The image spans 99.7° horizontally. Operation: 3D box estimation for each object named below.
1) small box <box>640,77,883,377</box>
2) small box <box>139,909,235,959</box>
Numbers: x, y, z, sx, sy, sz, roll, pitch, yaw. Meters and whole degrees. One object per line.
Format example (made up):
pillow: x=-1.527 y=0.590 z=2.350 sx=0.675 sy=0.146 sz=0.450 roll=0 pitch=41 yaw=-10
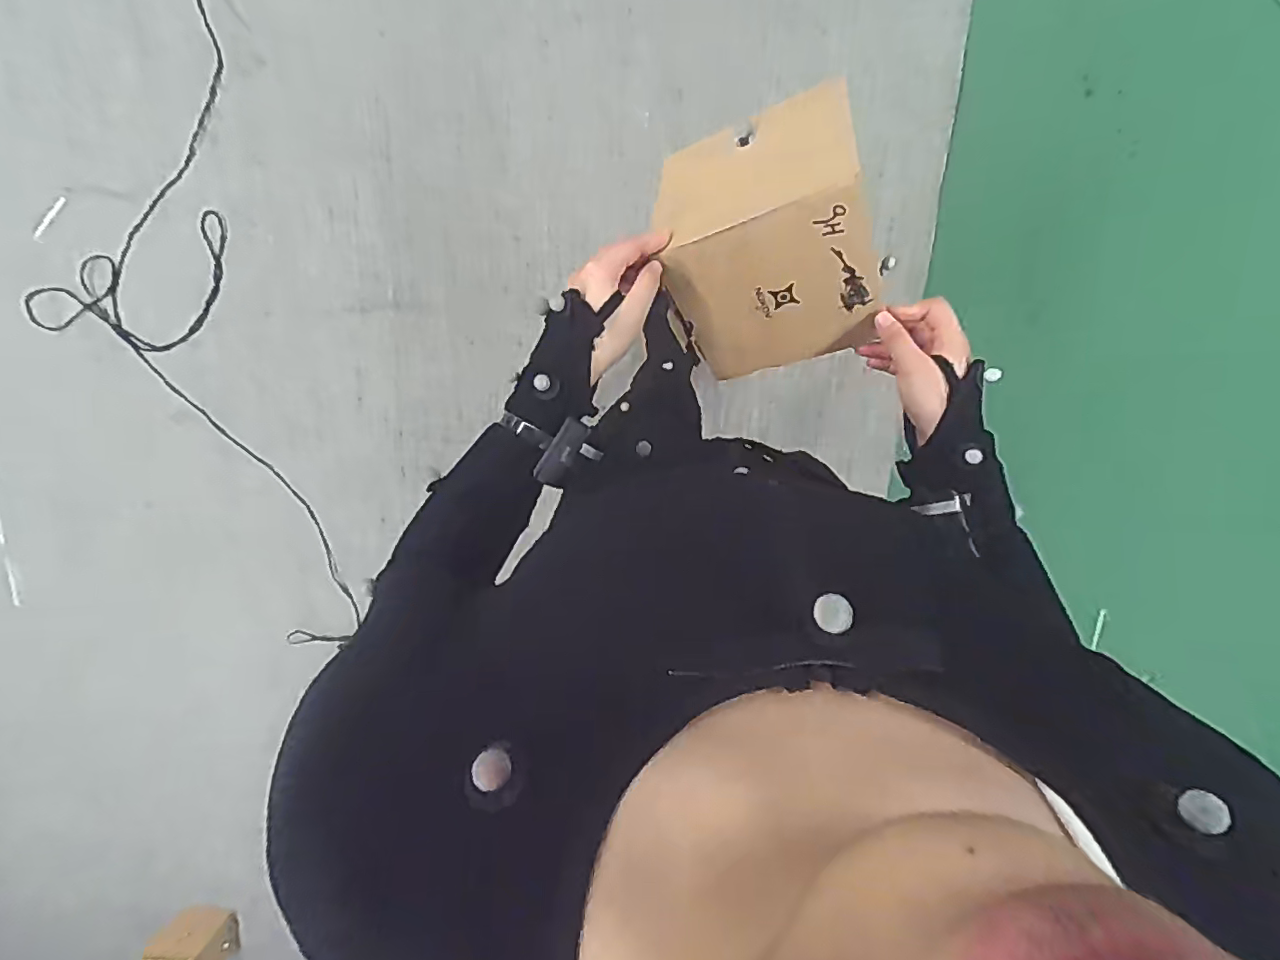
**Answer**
small box: x=0.123 y=-0.230 z=0.517 sx=0.179 sy=0.176 sz=0.168 roll=-10 pitch=144 yaw=28
small box: x=-1.501 y=1.577 z=1.801 sx=0.179 sy=0.176 sz=0.168 roll=5 pitch=103 yaw=0
